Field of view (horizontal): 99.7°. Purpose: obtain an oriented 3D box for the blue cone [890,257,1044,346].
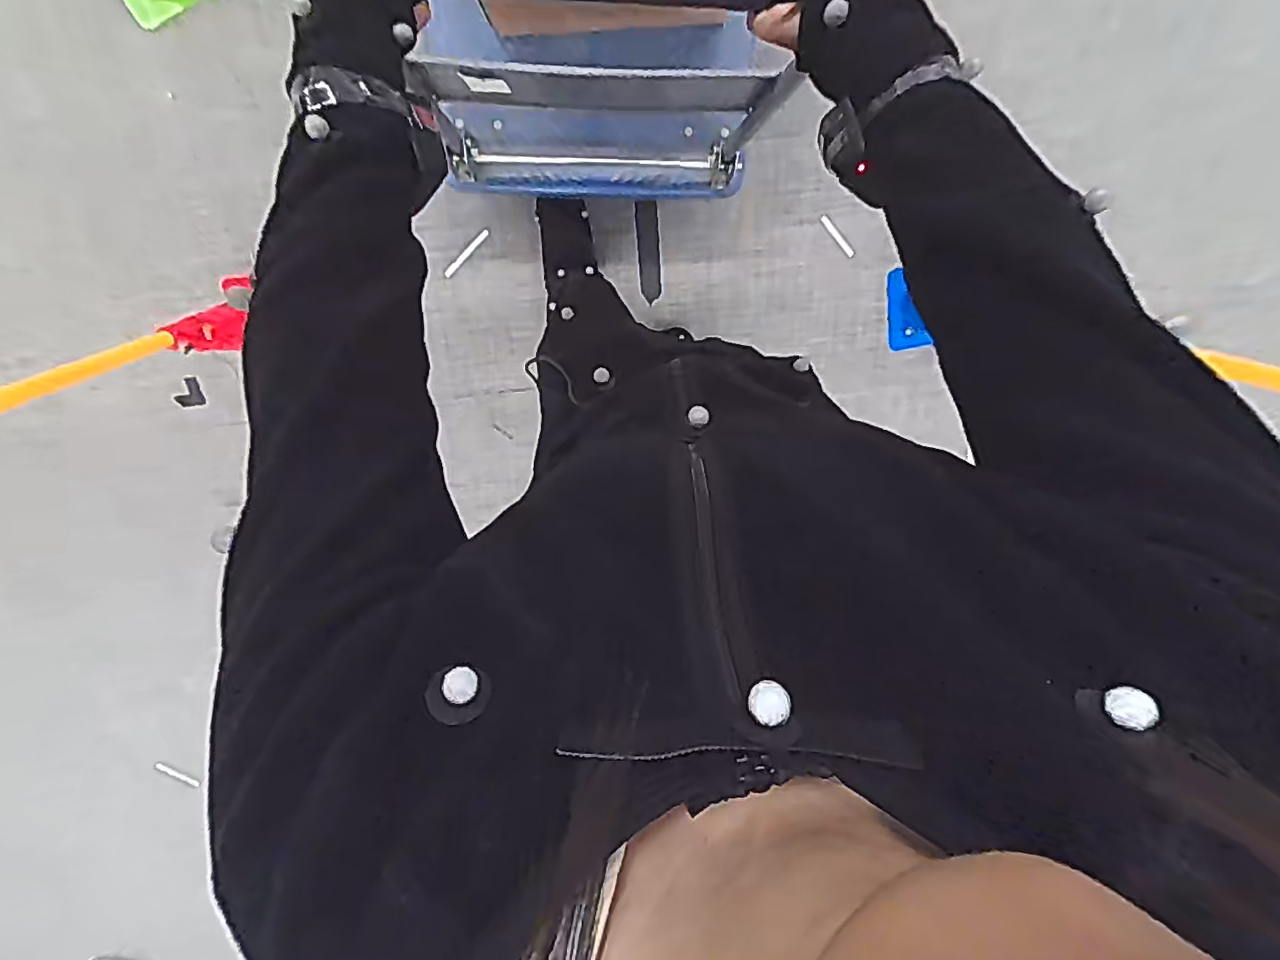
[{"bbox_3d":[0.727,-0.380,1.185,0.193,0.380,0.192,-10,111,-1],"label":"blue cone"}]
